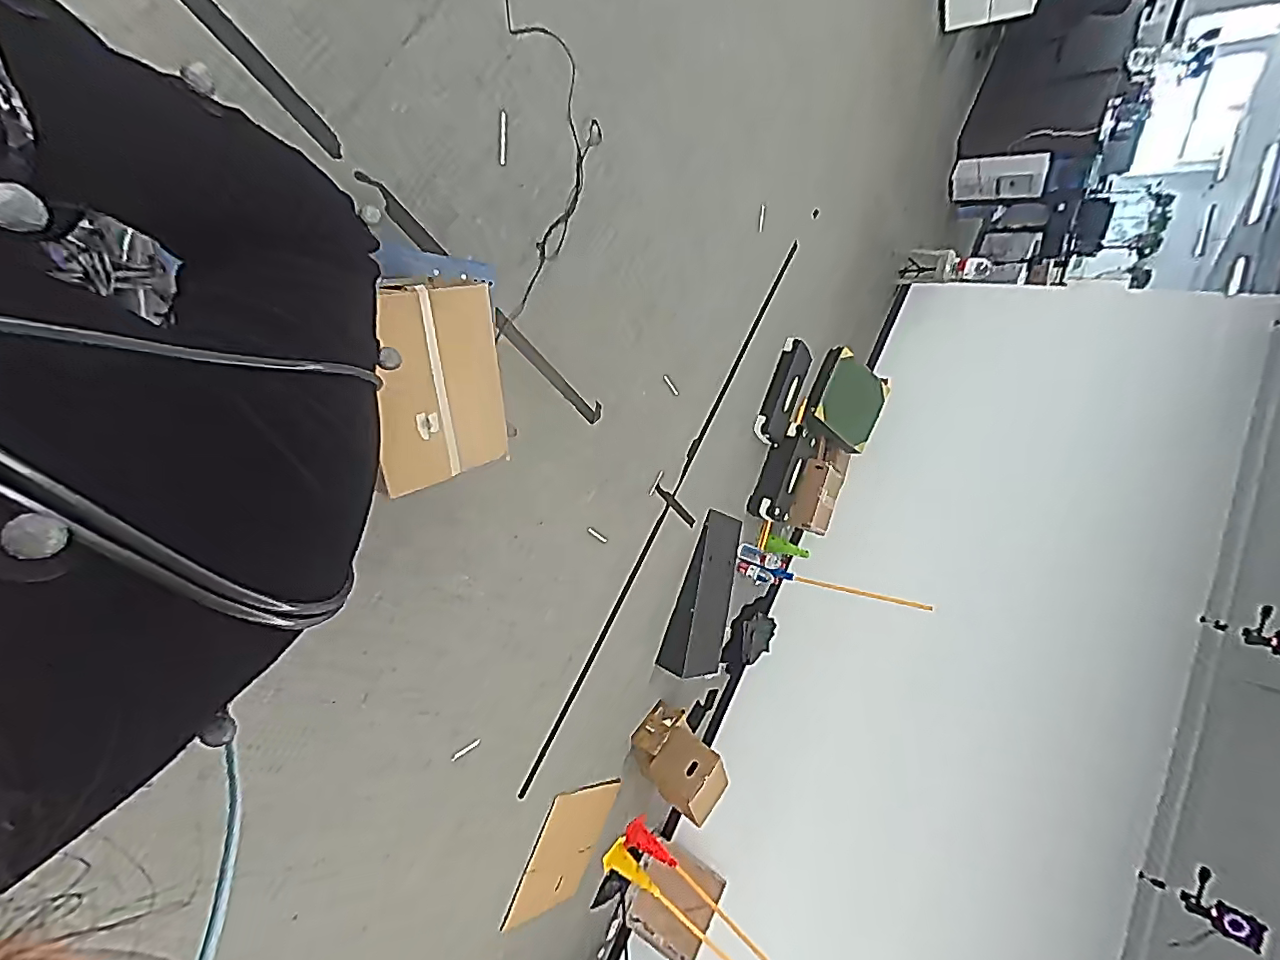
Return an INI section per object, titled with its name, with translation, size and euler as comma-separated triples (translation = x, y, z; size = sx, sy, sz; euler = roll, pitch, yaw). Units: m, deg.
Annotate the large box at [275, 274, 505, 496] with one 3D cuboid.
[large box]
translation = -0.545, -0.234, 1.221
size = 0.320, 0.320, 0.408
euler = -27, 127, -43
